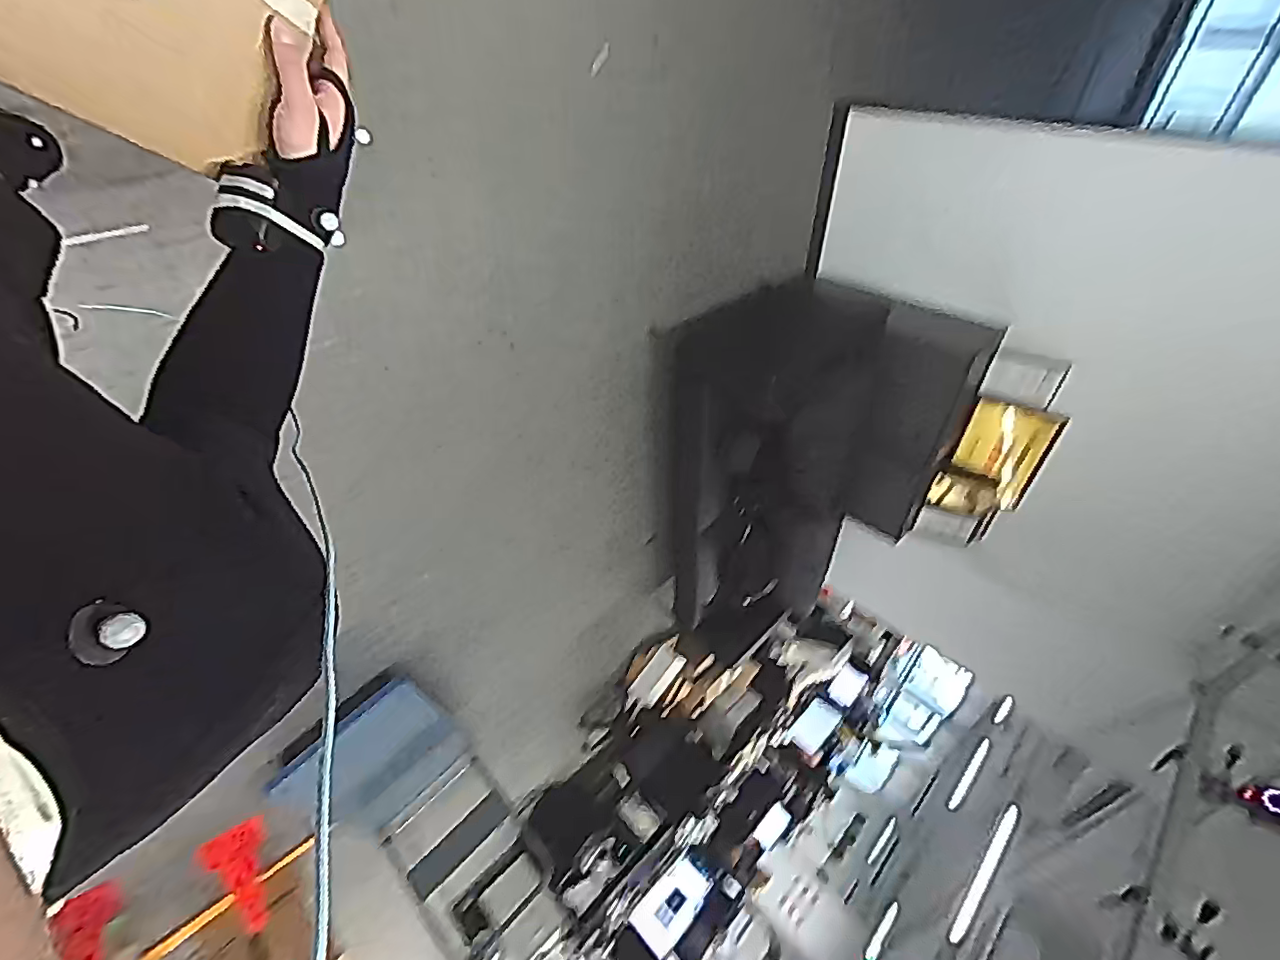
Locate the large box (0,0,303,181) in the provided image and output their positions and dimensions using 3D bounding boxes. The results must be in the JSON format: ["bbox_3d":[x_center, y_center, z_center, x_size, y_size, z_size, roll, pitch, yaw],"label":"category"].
[{"bbox_3d":[-0.500,-0.485,0.356,0.408,0.320,0.320,3,122,-60],"label":"large box"}]
